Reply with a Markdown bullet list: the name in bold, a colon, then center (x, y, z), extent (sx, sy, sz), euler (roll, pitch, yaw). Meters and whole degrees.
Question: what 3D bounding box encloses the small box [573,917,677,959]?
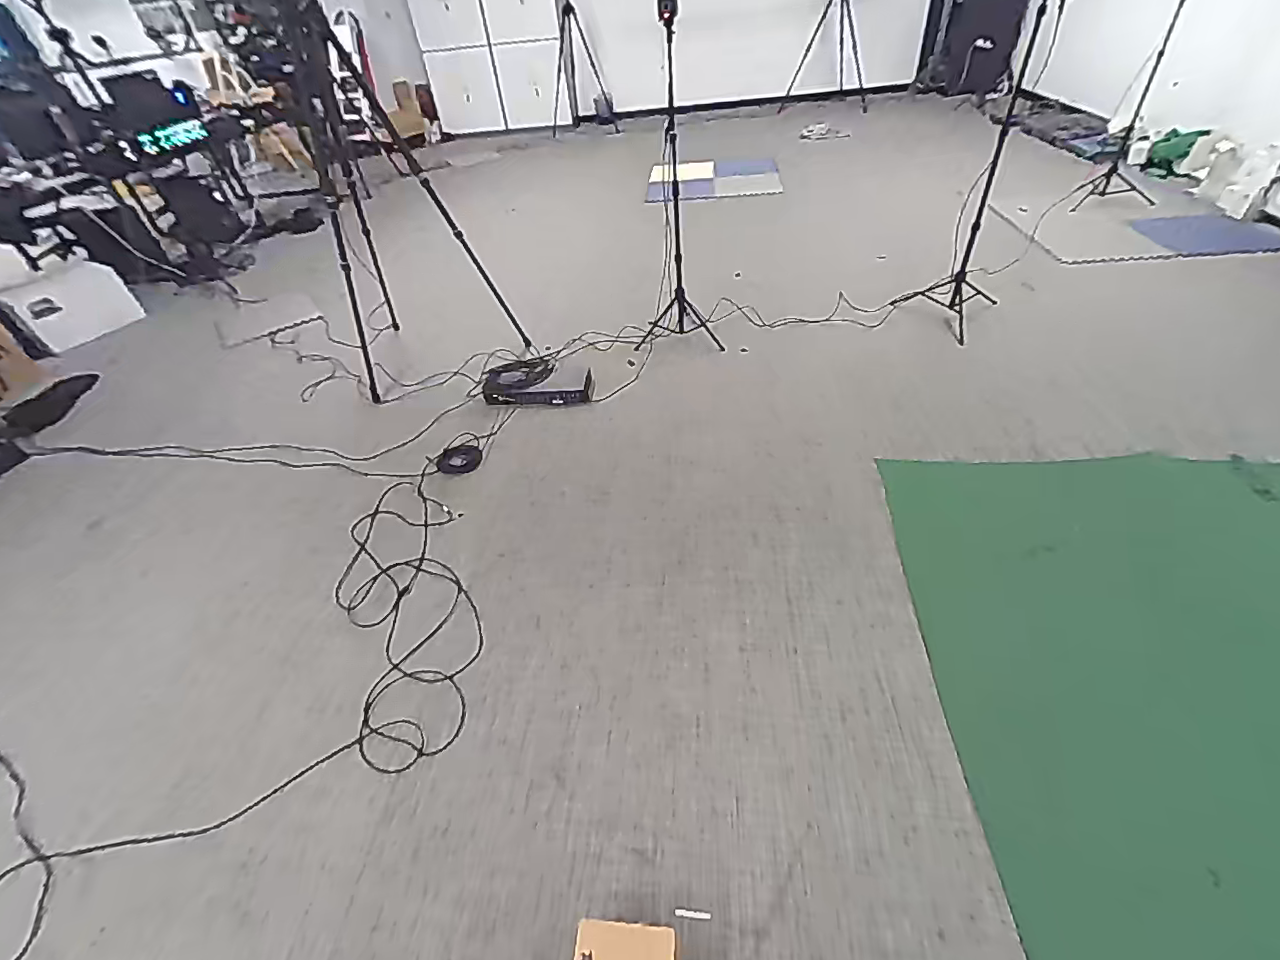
- **small box**: center (-0.025, 0.893, 0.953), extent (0.179, 0.176, 0.168), euler (0, 44, 7)
